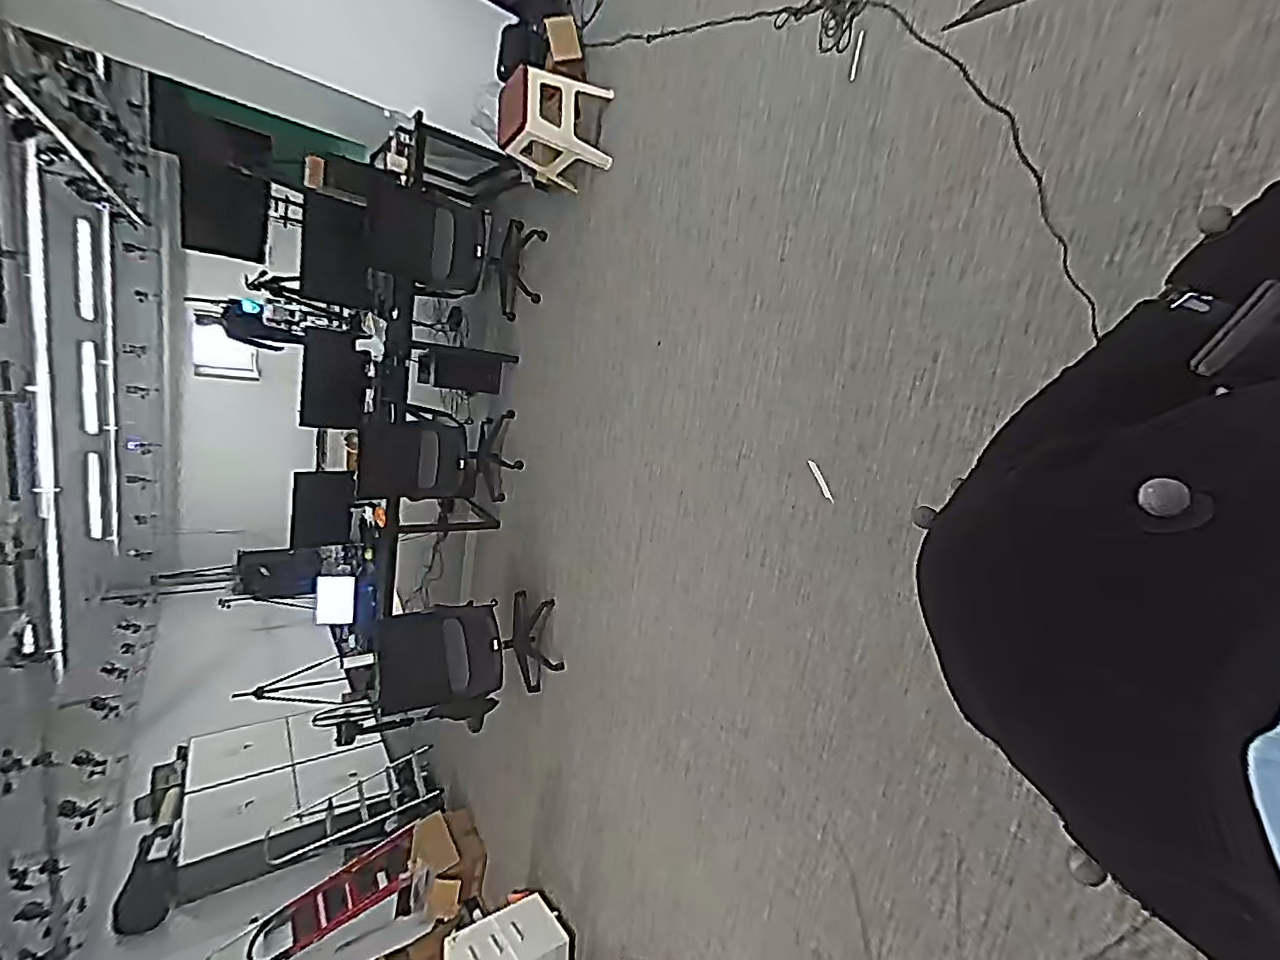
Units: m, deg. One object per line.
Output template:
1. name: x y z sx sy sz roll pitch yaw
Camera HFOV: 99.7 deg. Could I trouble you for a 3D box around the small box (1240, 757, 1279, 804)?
1. small box: 1.142 0.610 0.919 0.168 0.176 0.179 20 106 51
